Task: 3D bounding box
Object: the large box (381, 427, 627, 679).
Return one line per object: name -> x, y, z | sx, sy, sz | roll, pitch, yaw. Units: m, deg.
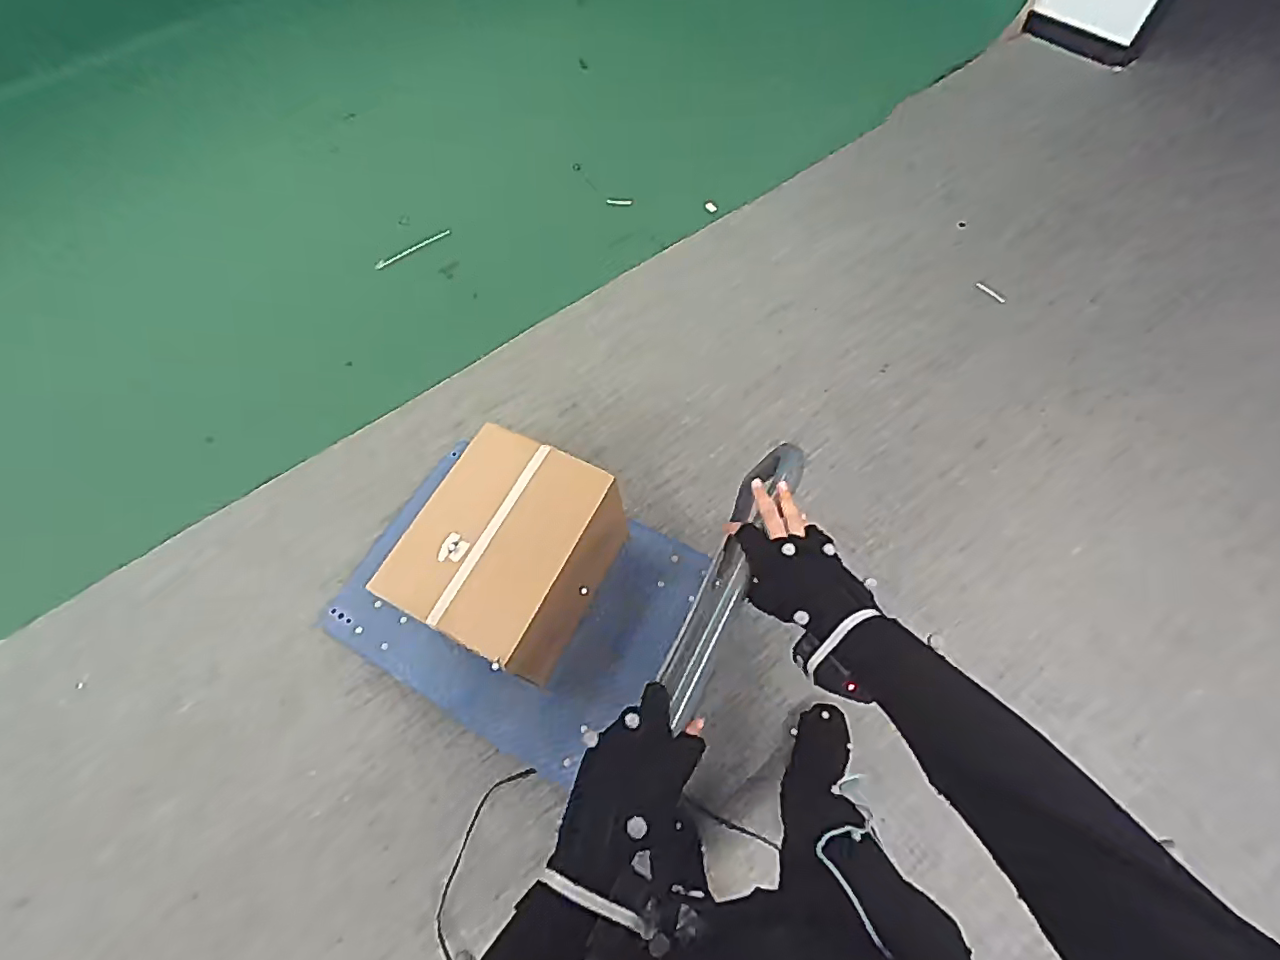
large box -> -0.257, 0.165, 1.181 | 0.320, 0.320, 0.408 | 23, 68, 15
